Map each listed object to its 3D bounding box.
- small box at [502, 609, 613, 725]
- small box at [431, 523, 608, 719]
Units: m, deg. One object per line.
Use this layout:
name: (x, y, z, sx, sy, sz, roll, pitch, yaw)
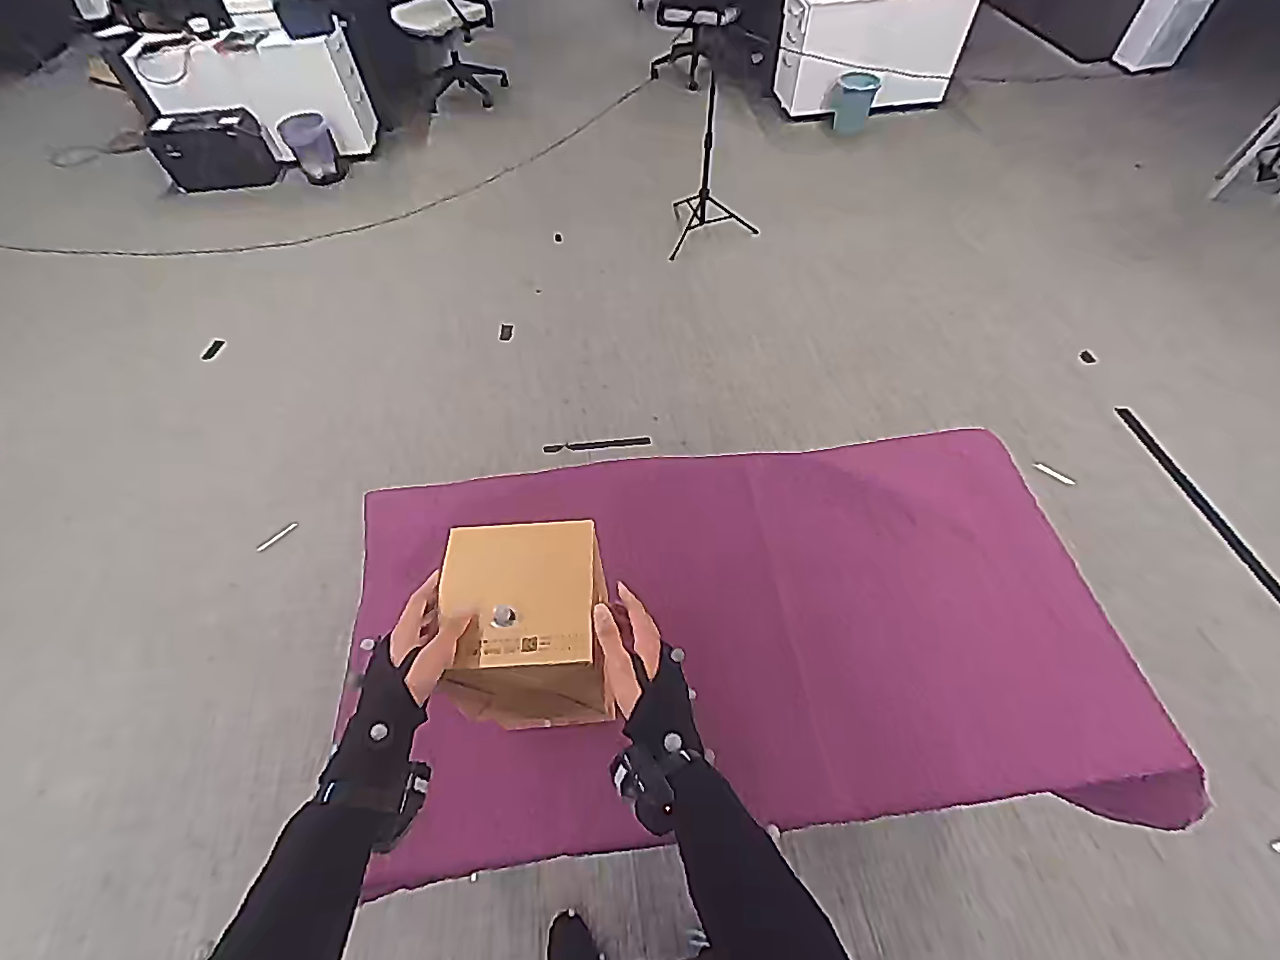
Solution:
small box: (-0.127, 0.251, 0.789, 0.168, 0.176, 0.179, -4, 56, -2)
small box: (-0.126, 0.169, 0.631, 0.168, 0.179, 0.176, -3, 52, 0)
